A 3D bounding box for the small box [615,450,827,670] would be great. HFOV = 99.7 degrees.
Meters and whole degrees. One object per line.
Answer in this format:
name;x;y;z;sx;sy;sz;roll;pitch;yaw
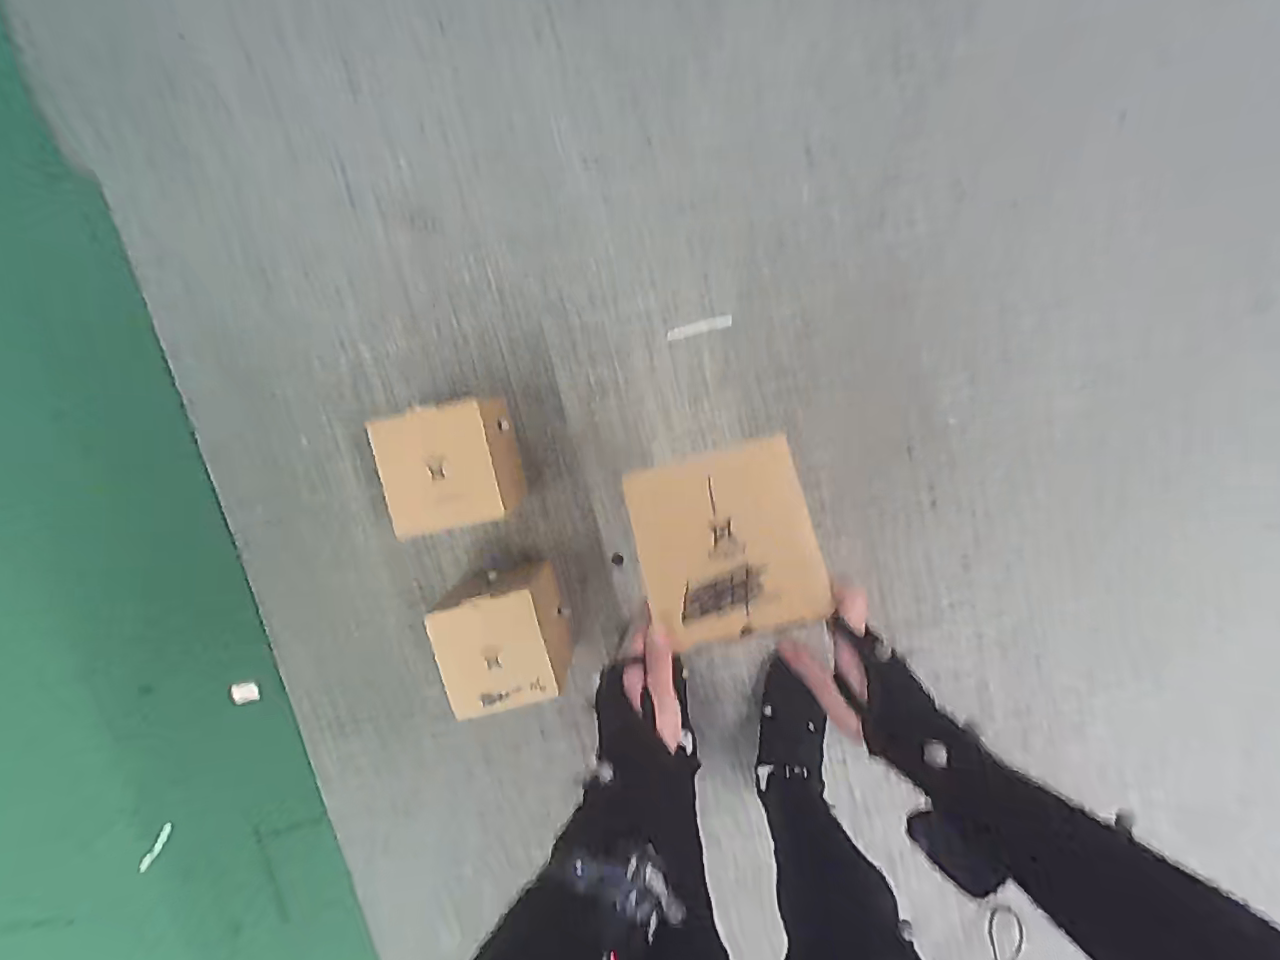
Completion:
small box;0.085;0.089;0.576;0.168;0.176;0.179;-14;74;7
